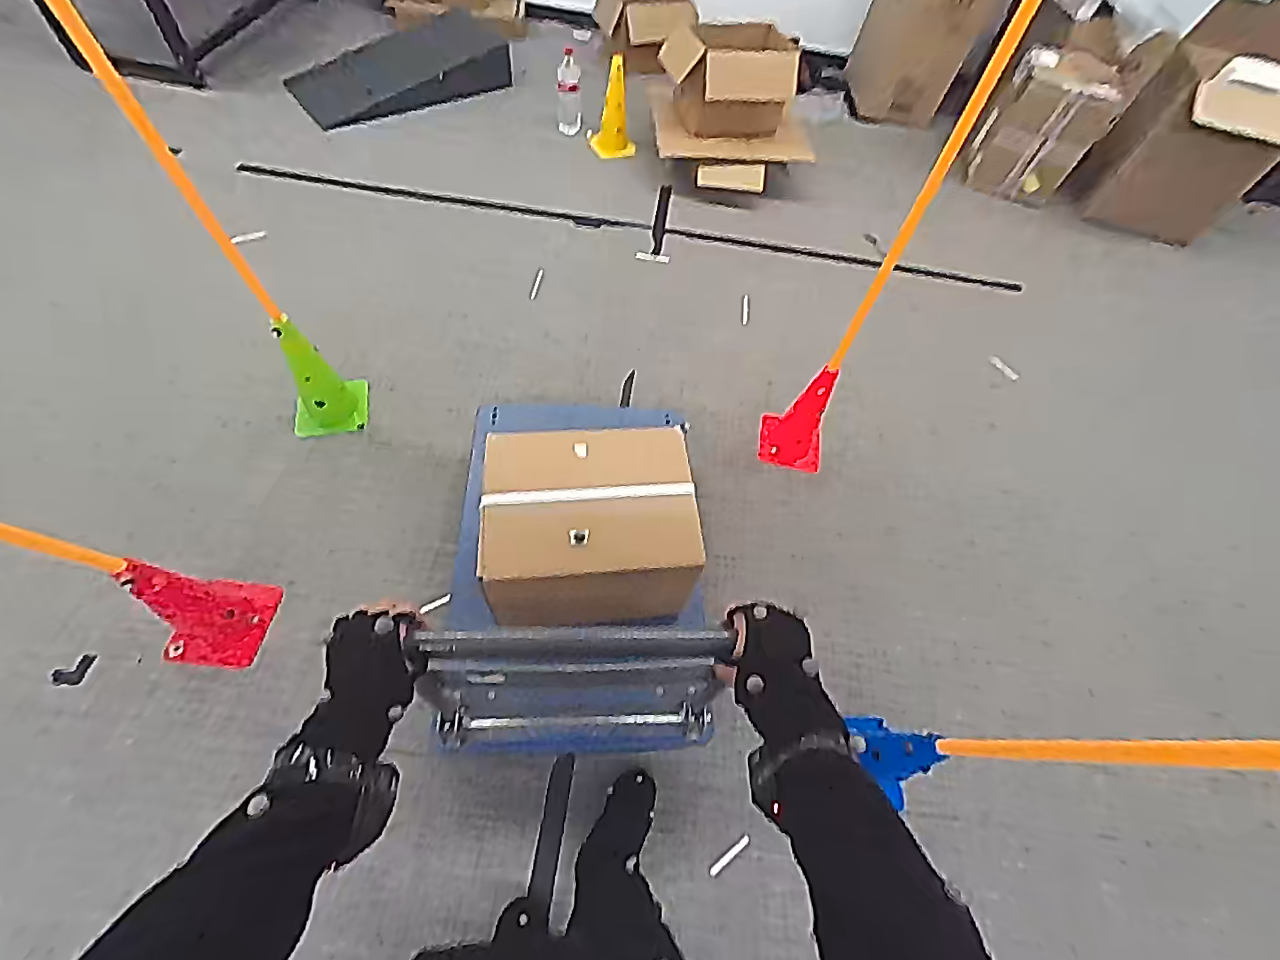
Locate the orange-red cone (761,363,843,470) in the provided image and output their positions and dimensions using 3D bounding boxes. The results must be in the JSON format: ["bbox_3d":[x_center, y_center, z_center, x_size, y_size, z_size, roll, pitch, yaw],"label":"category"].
[{"bbox_3d":[0.517,-0.216,1.612,0.199,0.360,0.198,14,59,1],"label":"orange-red cone"}]

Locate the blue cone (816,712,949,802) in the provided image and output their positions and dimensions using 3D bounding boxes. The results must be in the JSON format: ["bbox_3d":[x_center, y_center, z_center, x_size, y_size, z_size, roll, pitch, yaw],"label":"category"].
[{"bbox_3d":[0.541,0.570,1.153,0.193,0.380,0.192,5,57,-4],"label":"blue cone"}]
